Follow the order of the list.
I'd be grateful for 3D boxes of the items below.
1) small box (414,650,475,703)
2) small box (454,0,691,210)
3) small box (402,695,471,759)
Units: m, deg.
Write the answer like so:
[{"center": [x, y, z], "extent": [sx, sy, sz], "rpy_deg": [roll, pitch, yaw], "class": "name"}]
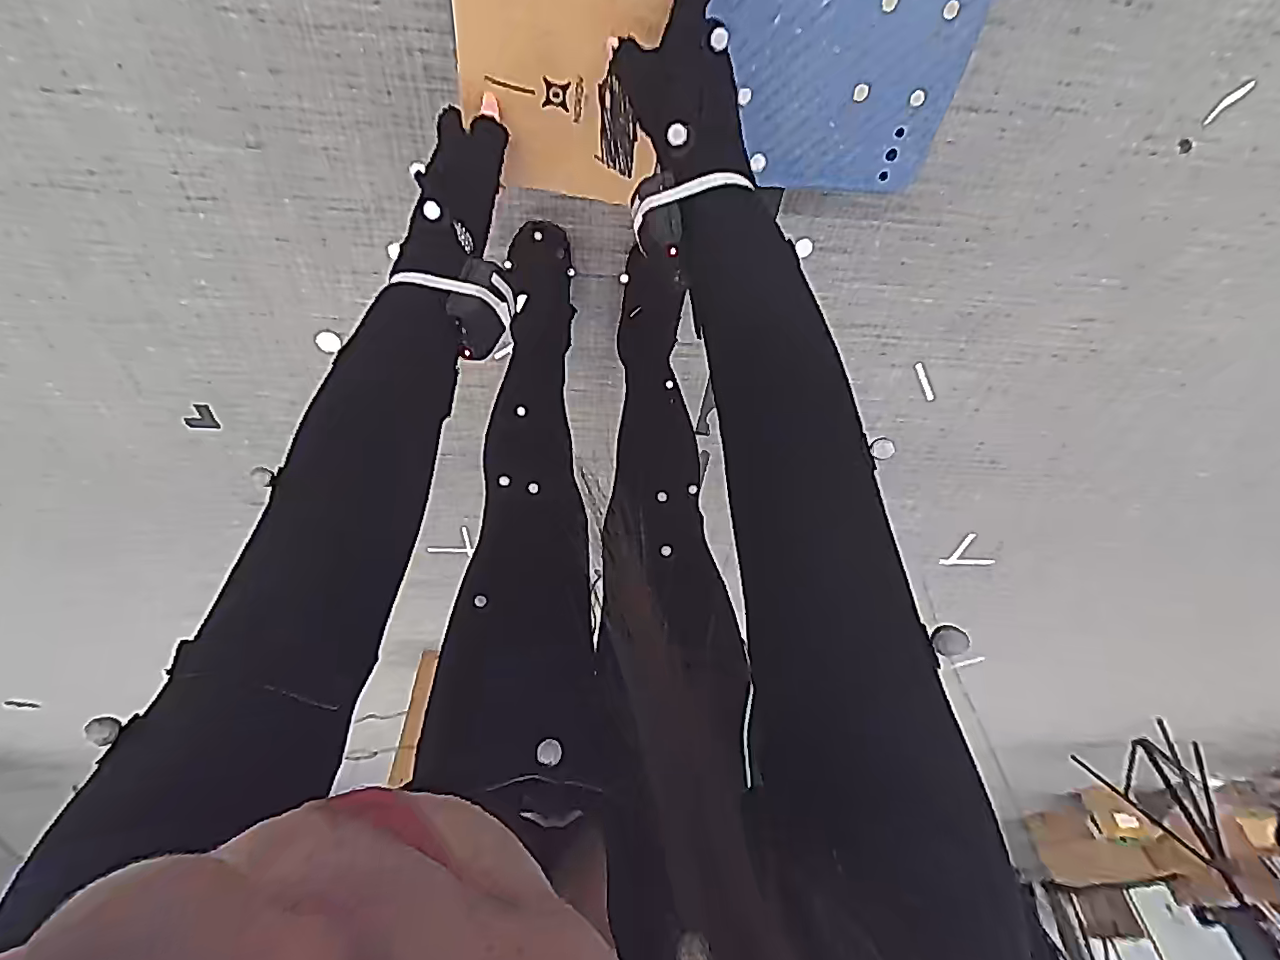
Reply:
[{"center": [-0.729, 0.758, 2.040], "extent": [0.168, 0.176, 0.179], "rpy_deg": [1, 137, -4], "class": "small box"}, {"center": [-0.061, -0.384, 0.492], "extent": [0.179, 0.176, 0.168], "rpy_deg": [6, 149, -9], "class": "small box"}, {"center": [-0.720, 0.880, 1.930], "extent": [0.179, 0.176, 0.168], "rpy_deg": [2, 138, -2], "class": "small box"}]
